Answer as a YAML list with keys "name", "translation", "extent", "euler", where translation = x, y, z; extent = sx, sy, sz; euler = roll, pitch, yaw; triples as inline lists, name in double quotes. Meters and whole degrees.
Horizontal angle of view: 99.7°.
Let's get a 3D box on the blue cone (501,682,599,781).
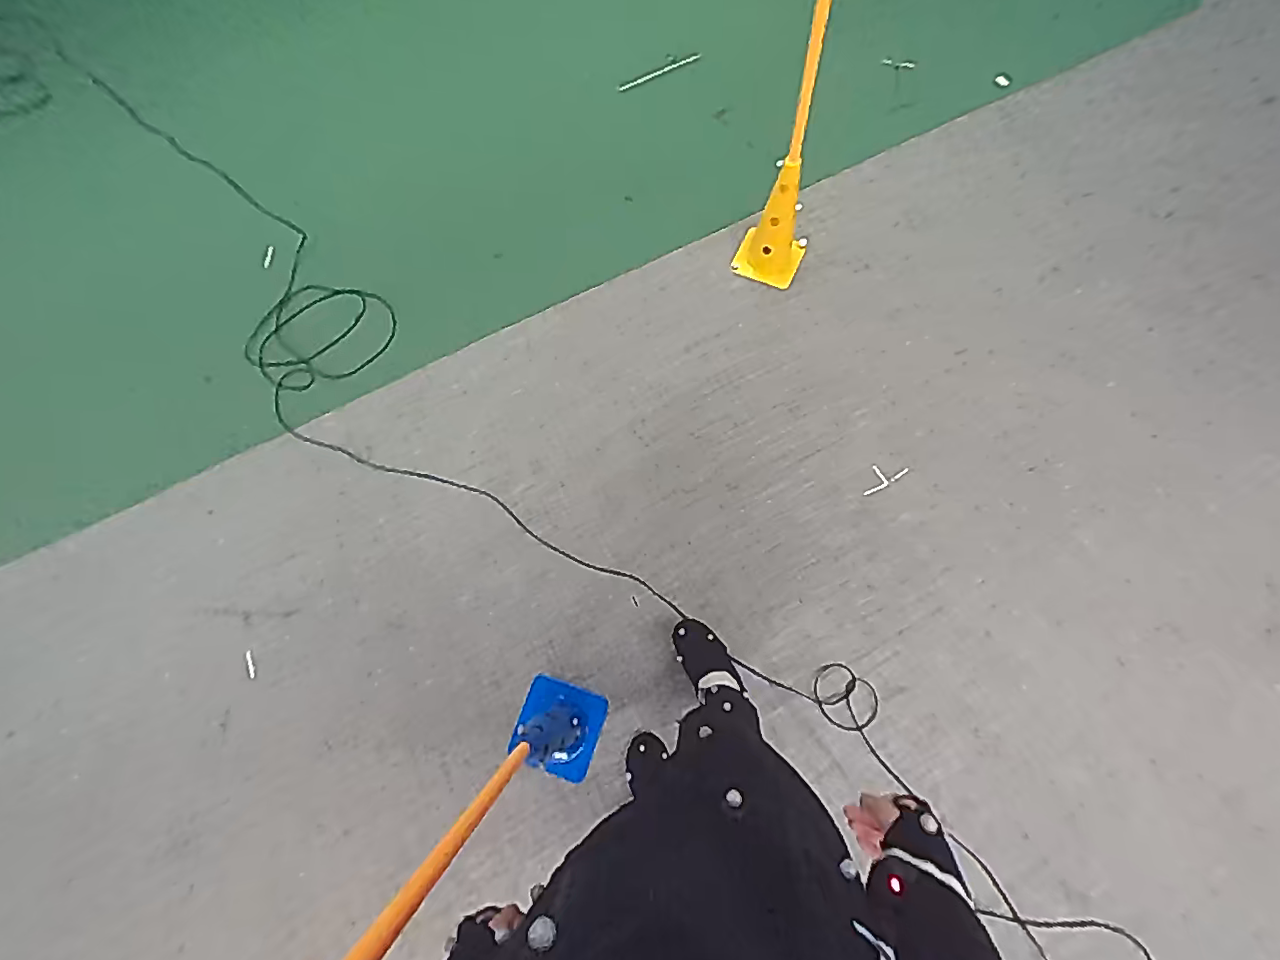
- name: "blue cone"
  translation: [-0.208, 0.544, 1.122]
  extent: [0.192, 0.380, 0.193]
  euler: [16, 74, 7]
